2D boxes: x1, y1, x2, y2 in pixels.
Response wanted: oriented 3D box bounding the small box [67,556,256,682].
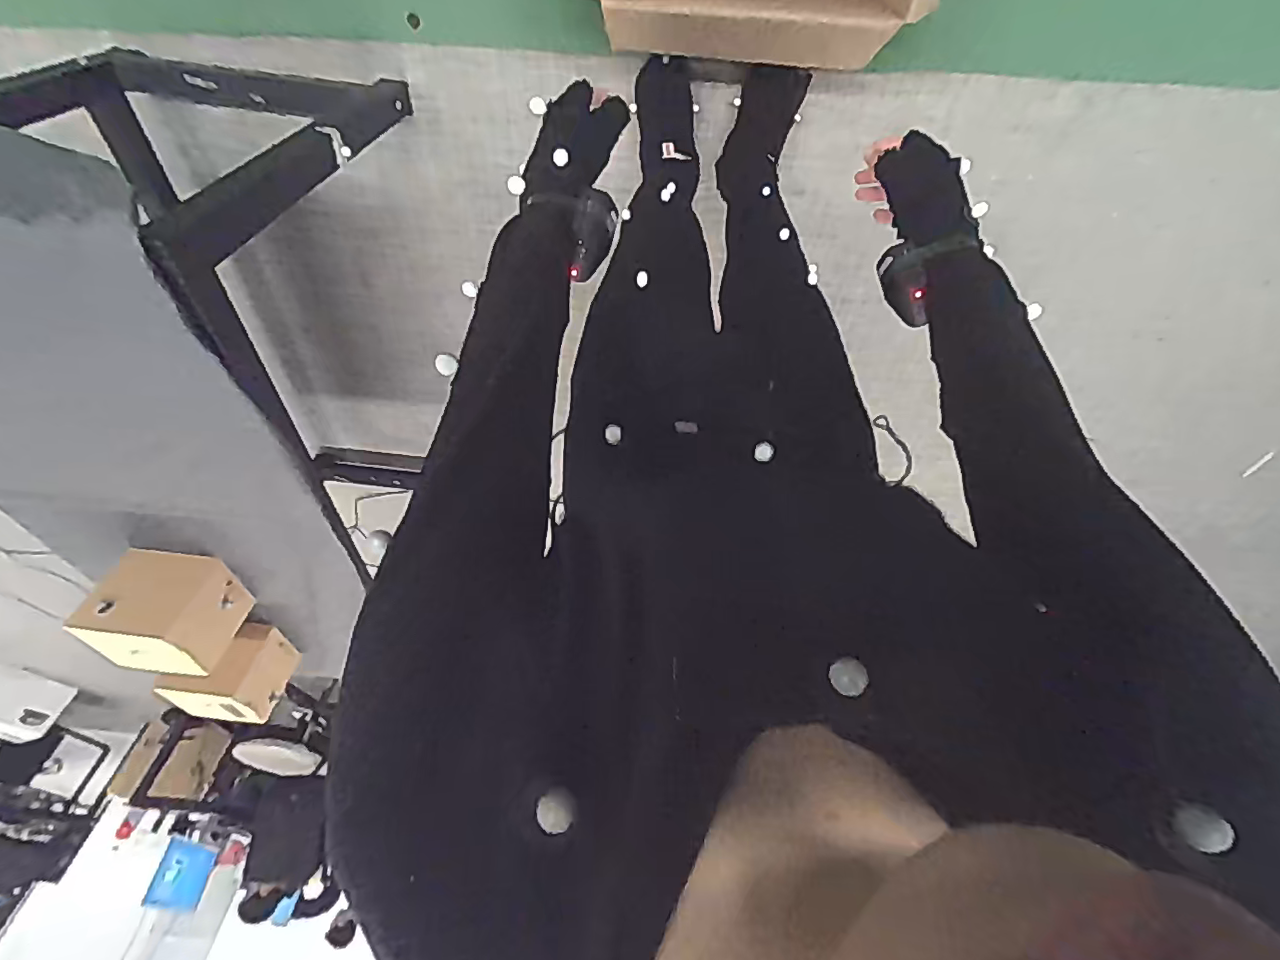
[{"bbox_3d":[-0.894,0.262,1.033,0.179,0.176,0.168,7,138,-1],"label":"small box"}]
